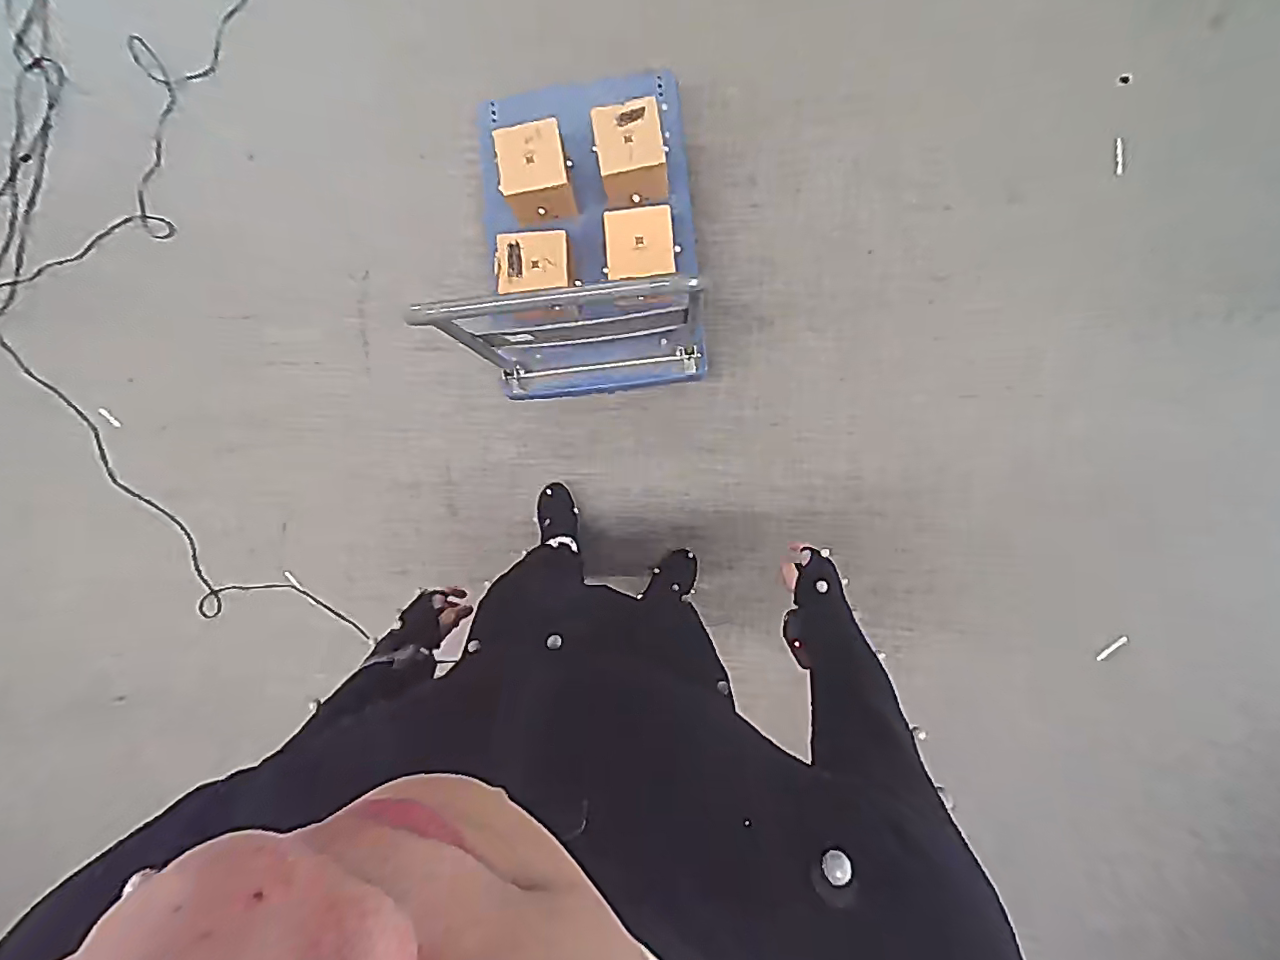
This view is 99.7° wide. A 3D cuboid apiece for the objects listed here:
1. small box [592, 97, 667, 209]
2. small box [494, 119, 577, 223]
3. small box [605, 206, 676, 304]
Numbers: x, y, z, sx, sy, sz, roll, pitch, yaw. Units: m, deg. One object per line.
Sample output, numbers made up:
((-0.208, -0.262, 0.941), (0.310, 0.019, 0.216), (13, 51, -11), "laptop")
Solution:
((-0.022, -0.846, 1.413), (0.168, 0.176, 0.179), (-9, 88, 5), "small box")
((-0.270, -0.804, 1.431), (0.168, 0.176, 0.179), (-9, 87, 3), "small box")
((0.004, -0.577, 1.404), (0.168, 0.176, 0.179), (-5, 88, 4), "small box")
